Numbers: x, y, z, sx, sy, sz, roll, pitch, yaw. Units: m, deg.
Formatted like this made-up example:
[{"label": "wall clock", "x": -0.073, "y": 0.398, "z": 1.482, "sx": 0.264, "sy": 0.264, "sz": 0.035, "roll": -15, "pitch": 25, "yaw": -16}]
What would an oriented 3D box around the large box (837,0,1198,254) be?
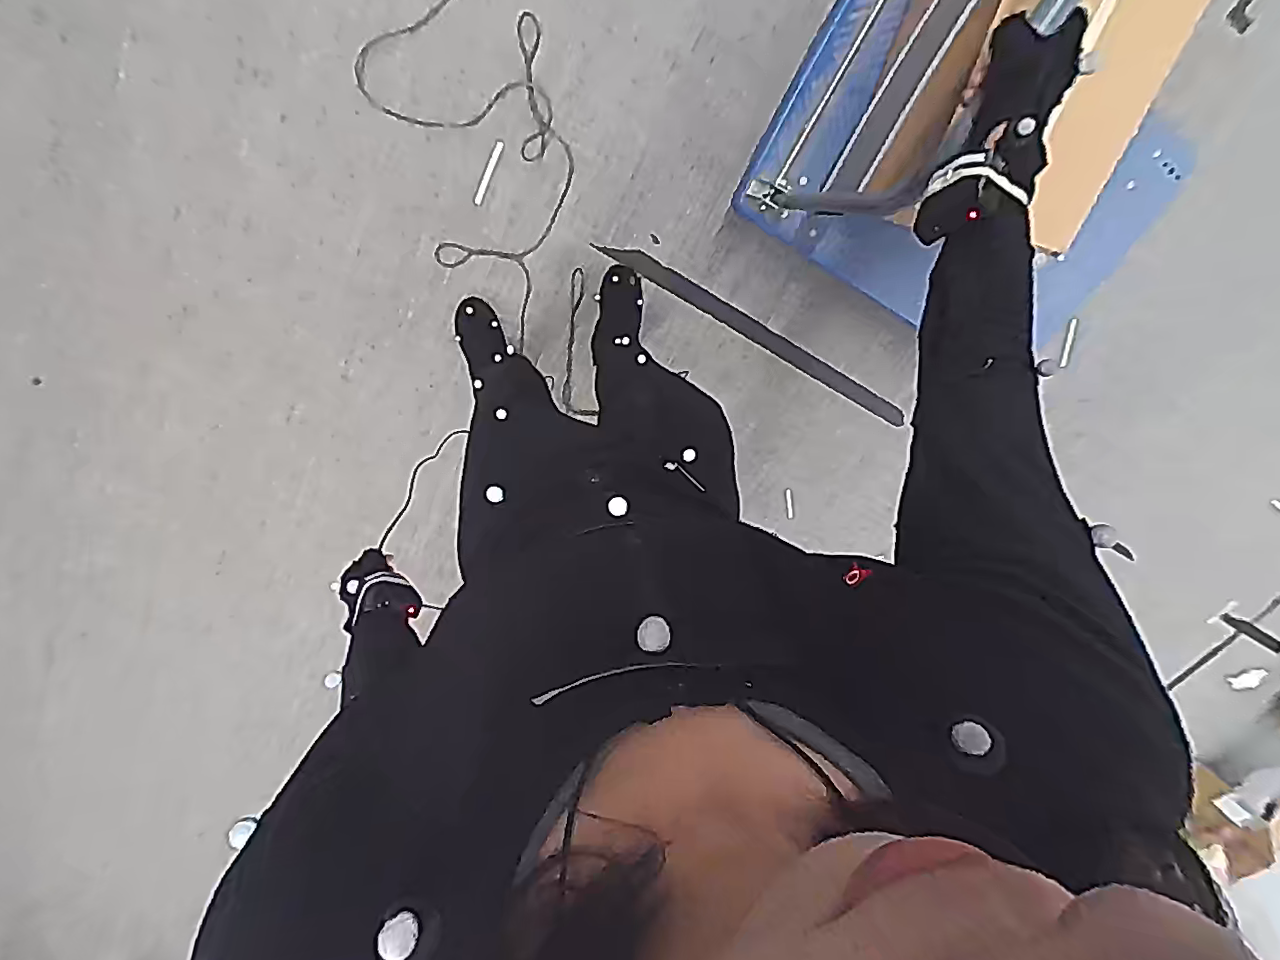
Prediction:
[{"label": "large box", "x": 0.620, "y": -0.665, "z": 0.962, "sx": 0.320, "sy": 0.320, "sz": 0.408, "roll": 10, "pitch": 117, "yaw": -12}]
